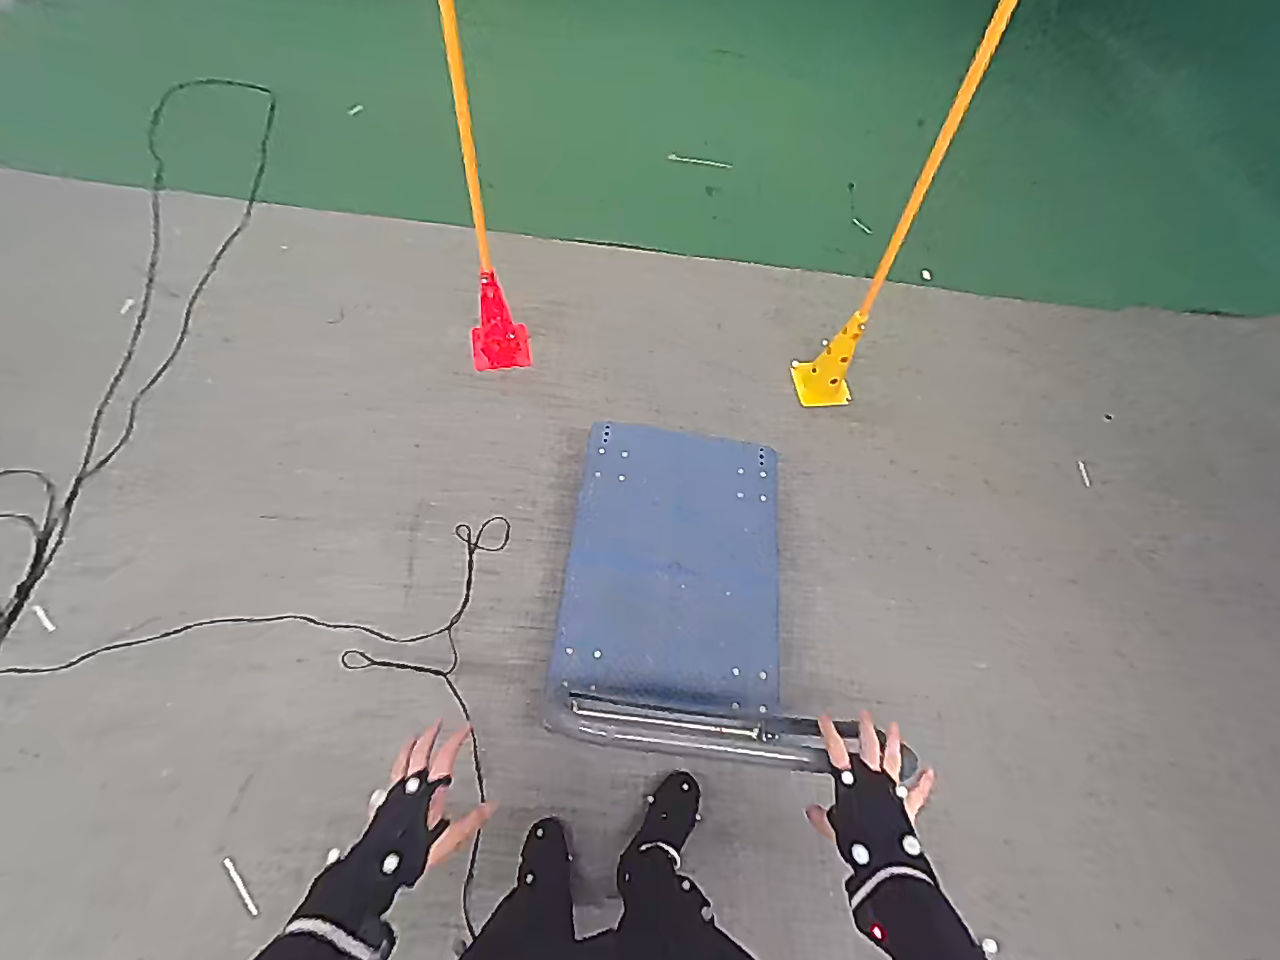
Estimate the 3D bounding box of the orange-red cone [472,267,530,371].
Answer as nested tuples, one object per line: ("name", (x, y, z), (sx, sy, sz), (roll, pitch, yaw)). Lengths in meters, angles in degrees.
("orange-red cone", (-0.488, -0.553, 1.796), (0.199, 0.360, 0.198), (-8, 63, -9))
